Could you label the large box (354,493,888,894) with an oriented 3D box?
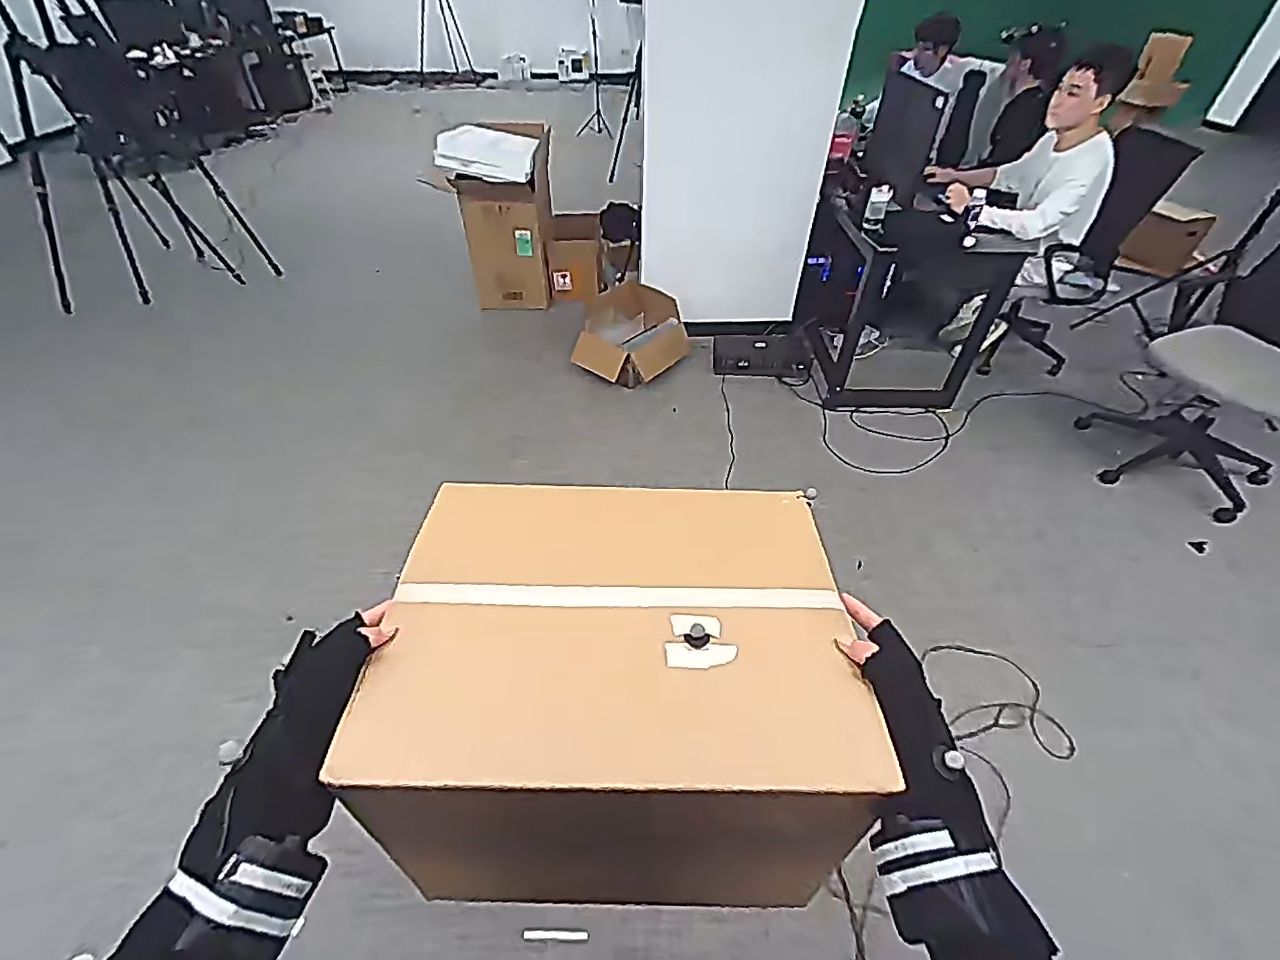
[{"bbox_3d":[-0.018,0.230,0.603,0.408,0.320,0.320,1,40,-1],"label":"large box"}]
